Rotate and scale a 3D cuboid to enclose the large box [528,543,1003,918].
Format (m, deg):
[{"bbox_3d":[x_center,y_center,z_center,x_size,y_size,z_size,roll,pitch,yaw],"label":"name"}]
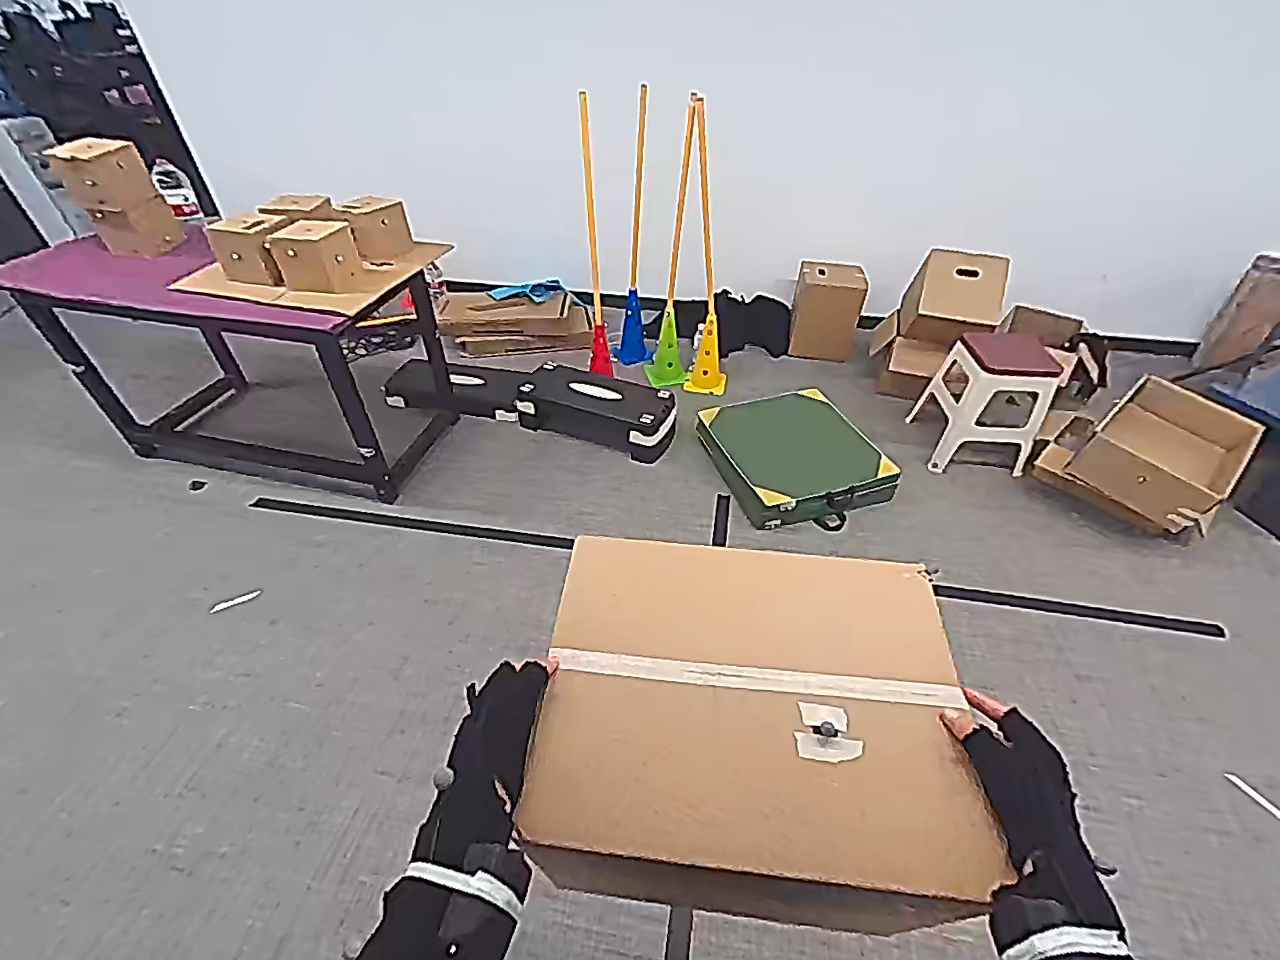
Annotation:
[{"bbox_3d":[0.113,0.303,0.658,0.408,0.320,0.320,5,48,5],"label":"large box"}]
